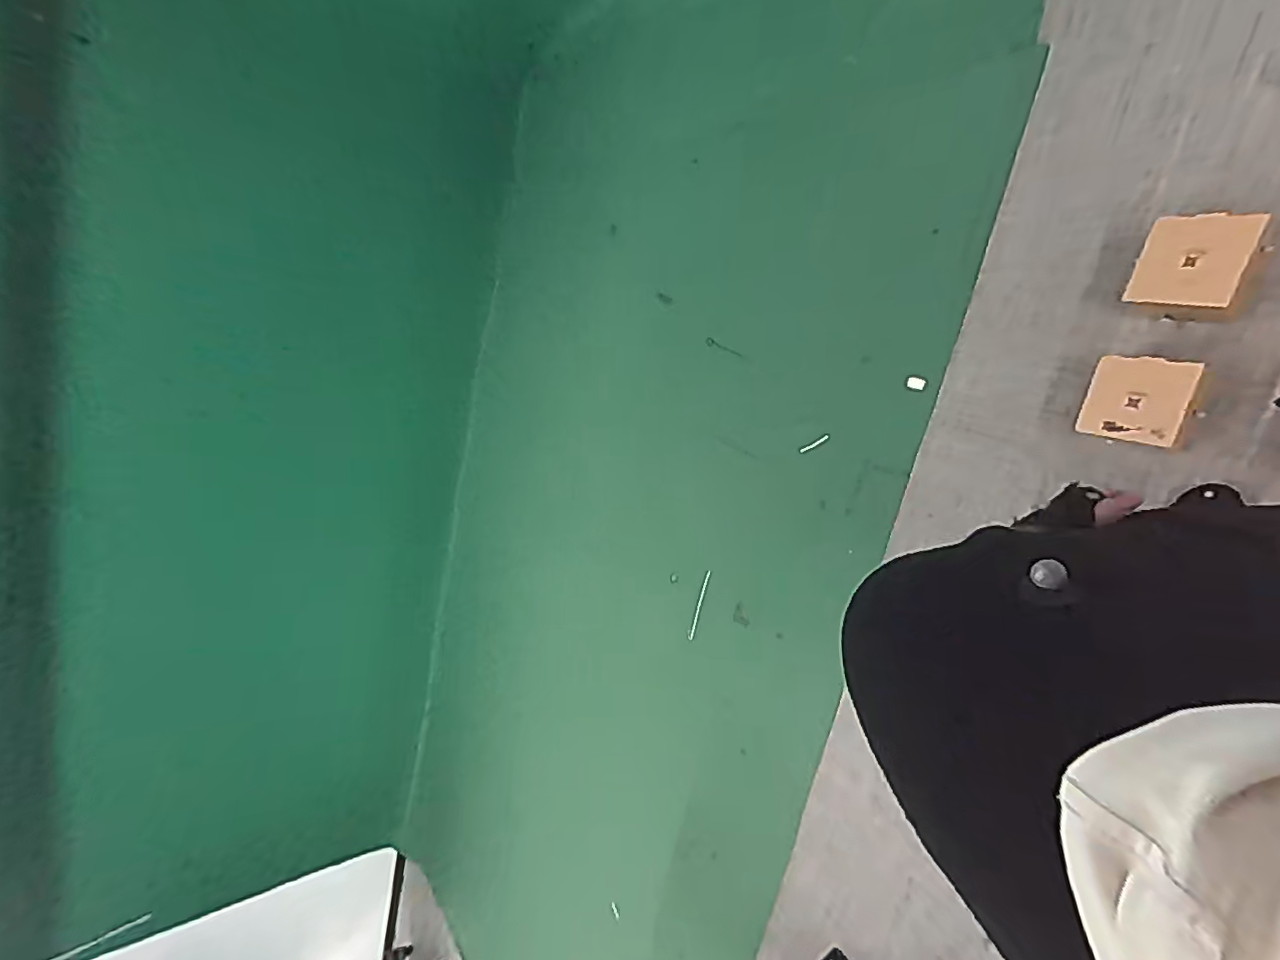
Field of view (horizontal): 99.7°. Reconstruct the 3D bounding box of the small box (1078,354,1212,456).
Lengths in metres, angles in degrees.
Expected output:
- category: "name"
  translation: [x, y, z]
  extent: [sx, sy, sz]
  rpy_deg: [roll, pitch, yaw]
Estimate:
- category: "small box"
  translation: [1.101, -0.161, 1.181]
  extent: [0.168, 0.176, 0.179]
  rpy_deg: [26, 105, 47]
